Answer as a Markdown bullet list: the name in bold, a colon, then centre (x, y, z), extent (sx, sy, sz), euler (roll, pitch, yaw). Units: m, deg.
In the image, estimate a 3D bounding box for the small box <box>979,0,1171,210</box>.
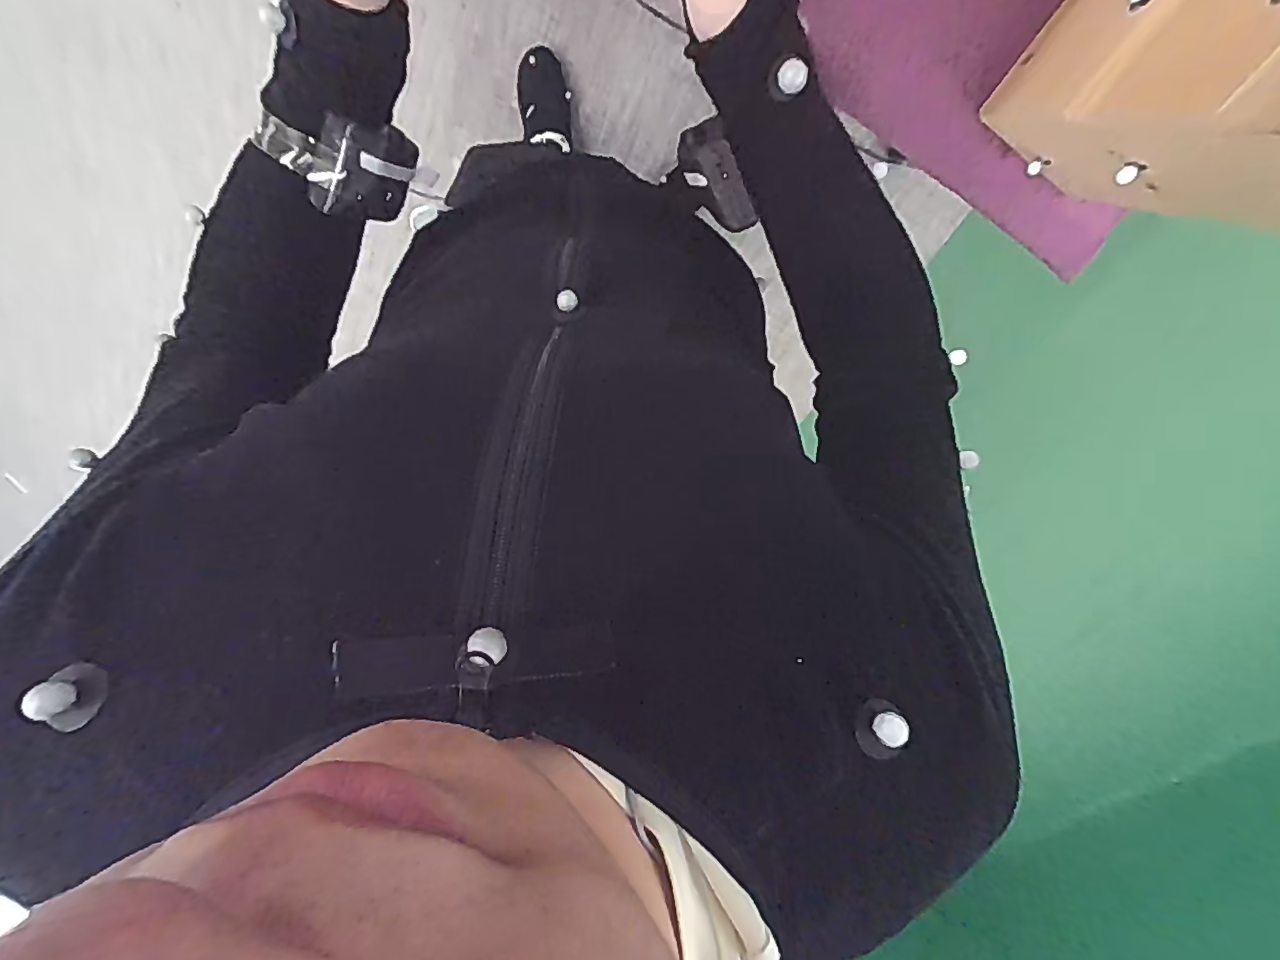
- **small box**: centre (0.516, -0.422, 0.570), extent (0.179, 0.176, 0.168), euler (26, 121, -17)
